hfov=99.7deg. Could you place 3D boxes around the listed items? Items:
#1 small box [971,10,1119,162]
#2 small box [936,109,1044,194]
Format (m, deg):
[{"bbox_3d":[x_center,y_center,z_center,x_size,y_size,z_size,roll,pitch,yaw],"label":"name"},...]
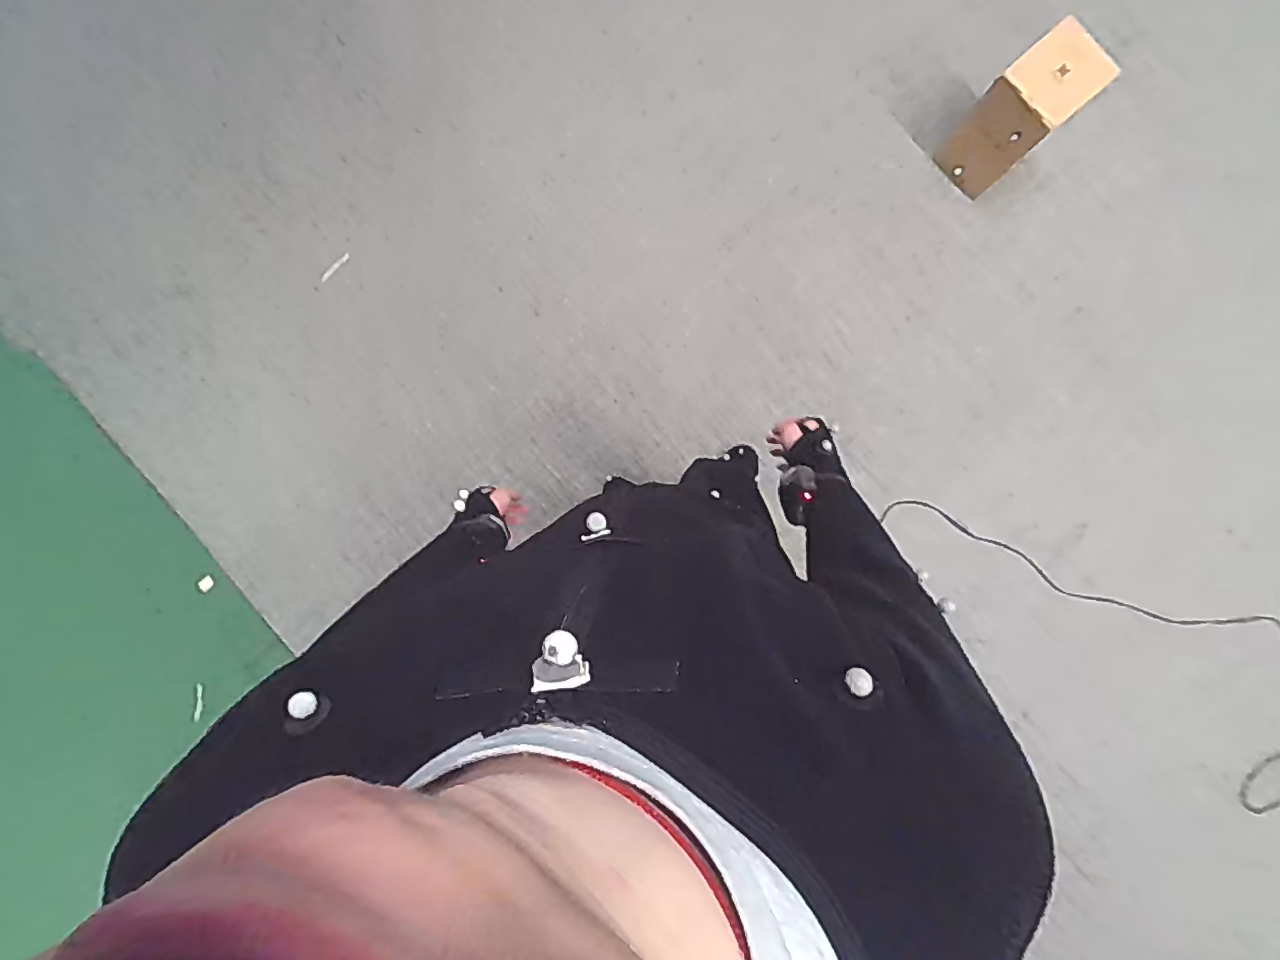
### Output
[{"bbox_3d":[0.881,-0.861,1.204,0.179,0.176,0.168,-41,91,4],"label":"small box"},{"bbox_3d":[0.896,-0.874,1.364,0.179,0.176,0.168,-42,90,6],"label":"small box"}]
